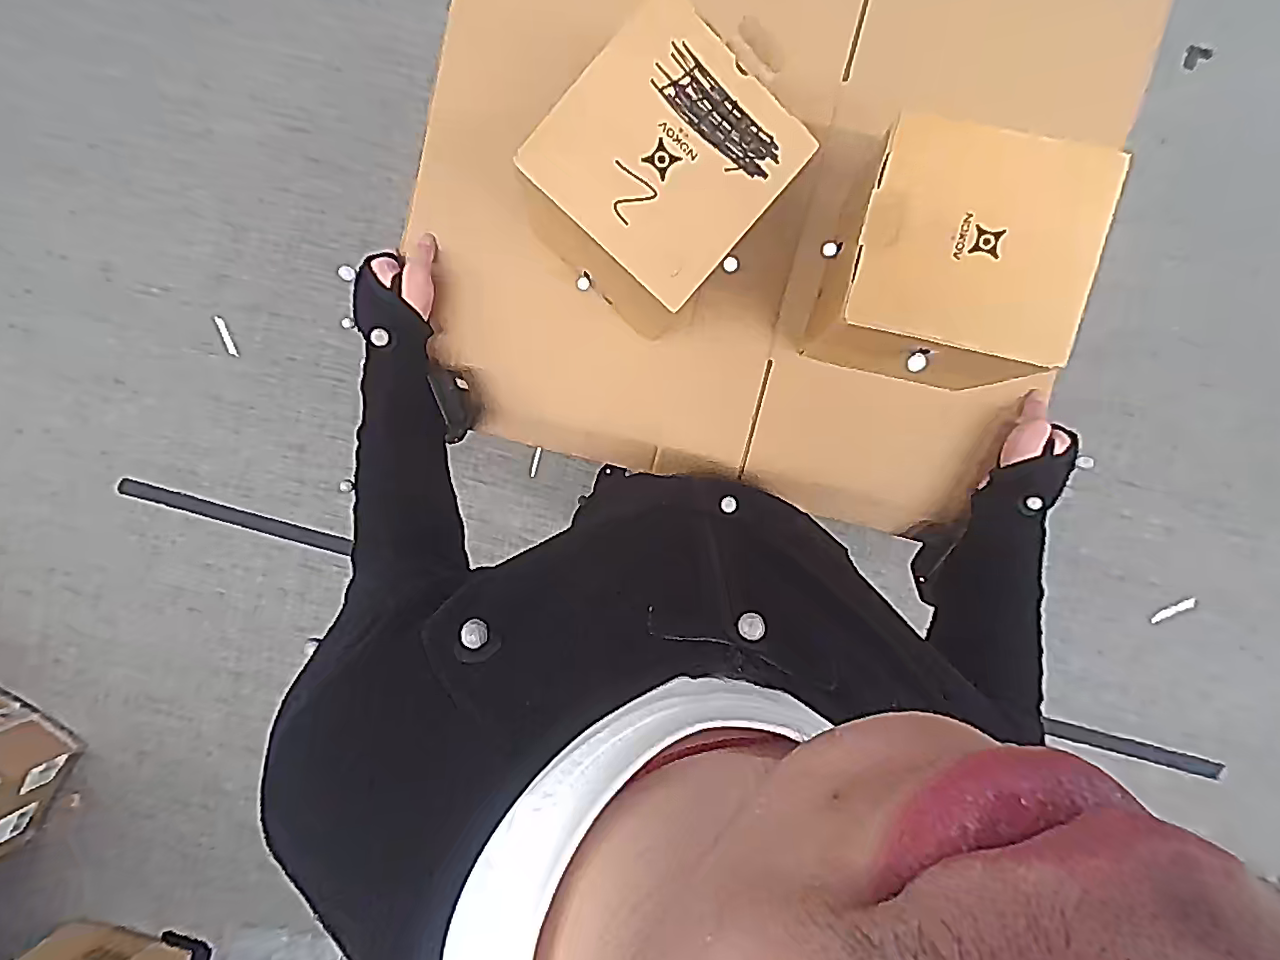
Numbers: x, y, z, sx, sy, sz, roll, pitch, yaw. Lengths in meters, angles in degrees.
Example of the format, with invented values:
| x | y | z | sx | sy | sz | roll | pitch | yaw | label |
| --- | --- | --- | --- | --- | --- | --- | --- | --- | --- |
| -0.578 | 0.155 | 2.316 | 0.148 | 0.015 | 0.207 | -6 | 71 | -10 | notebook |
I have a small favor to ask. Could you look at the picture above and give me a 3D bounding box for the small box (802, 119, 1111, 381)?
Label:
| x | y | z | sx | sy | sz | roll | pitch | yaw | label |
| --- | --- | --- | --- | --- | --- | --- | --- | --- | --- |
| 0.273 | -0.196 | 0.514 | 0.179 | 0.176 | 0.168 | 14 | 94 | 5 | small box |
